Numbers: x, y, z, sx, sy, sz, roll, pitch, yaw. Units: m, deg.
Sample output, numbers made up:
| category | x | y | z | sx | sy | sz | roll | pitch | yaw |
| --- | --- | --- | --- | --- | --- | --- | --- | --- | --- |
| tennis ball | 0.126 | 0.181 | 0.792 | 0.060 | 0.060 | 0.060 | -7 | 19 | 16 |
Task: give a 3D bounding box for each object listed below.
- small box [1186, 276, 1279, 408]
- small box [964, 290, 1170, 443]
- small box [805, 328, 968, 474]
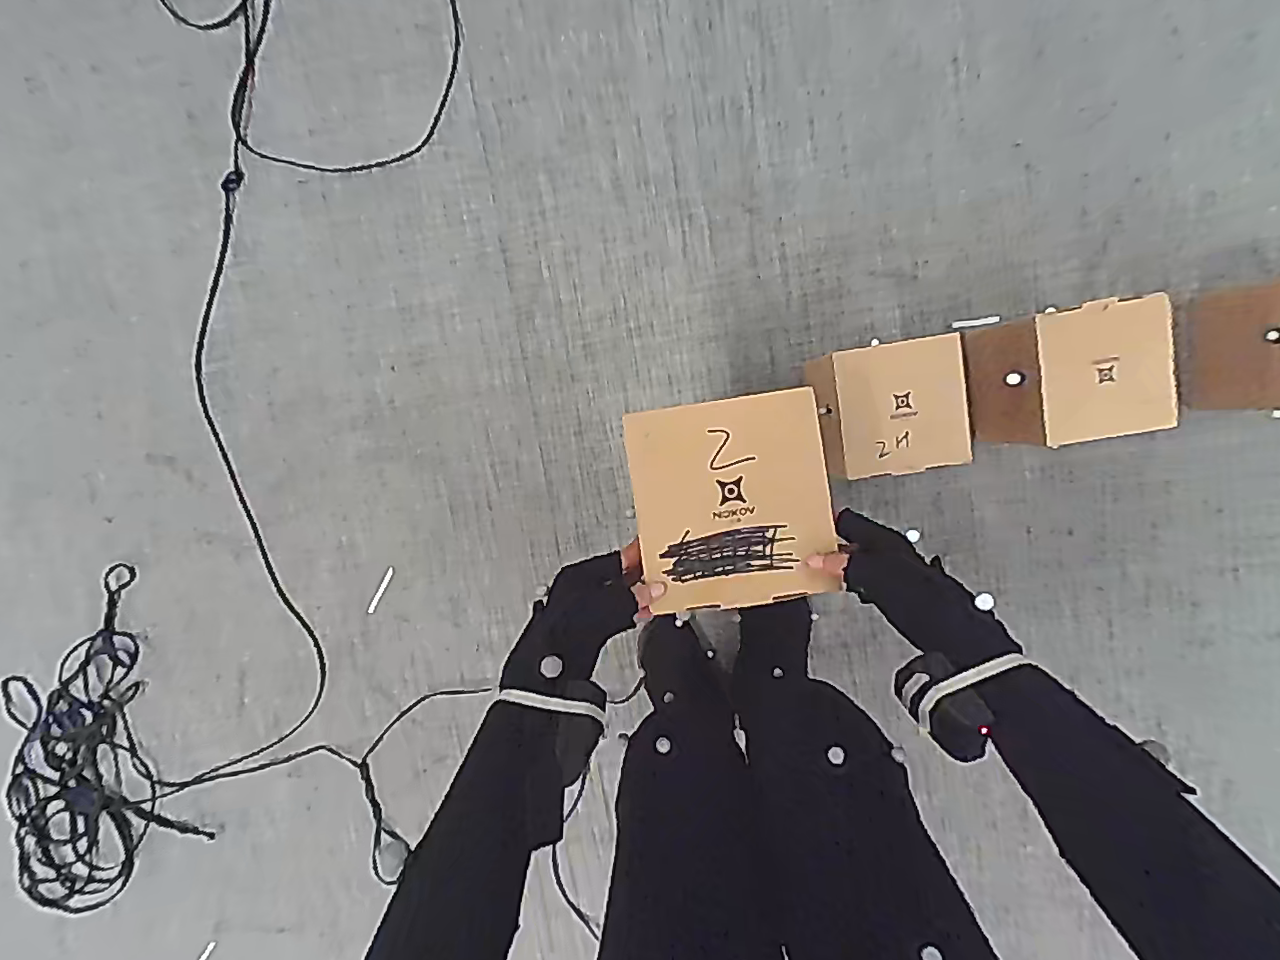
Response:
| category | x | y | z | sx | sy | sz | roll | pitch | yaw |
| --- | --- | --- | --- | --- | --- | --- | --- | --- | --- |
| small box | 0.924 | -0.197 | 0.756 | 0.168 | 0.176 | 0.179 | -6 | 96 | 5 |
| small box | 0.602 | -0.155 | 0.782 | 0.168 | 0.176 | 0.179 | -10 | 95 | 4 |
| small box | 0.351 | -0.110 | 0.799 | 0.168 | 0.176 | 0.179 | -8 | 95 | 5 |
